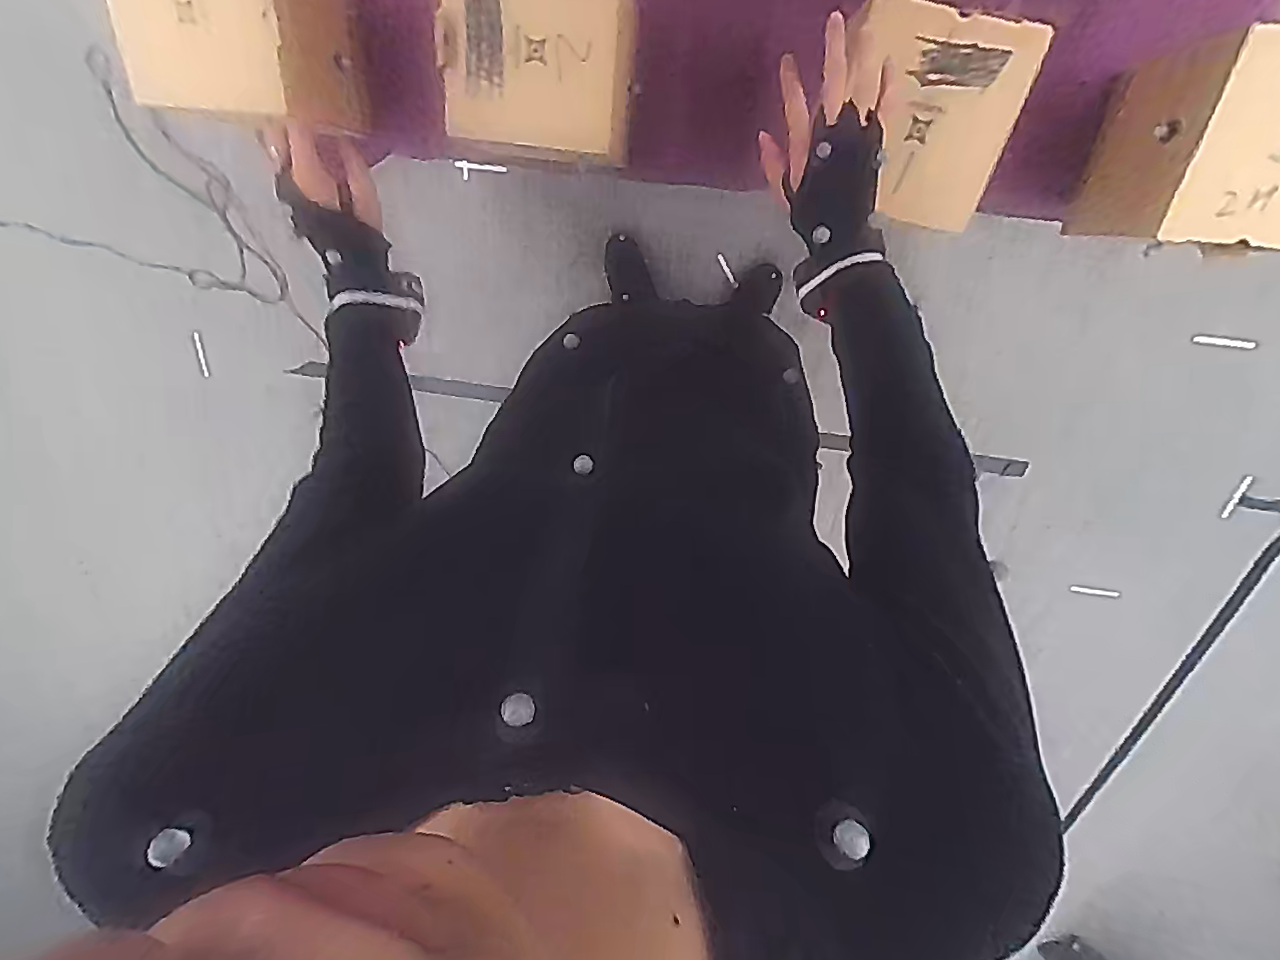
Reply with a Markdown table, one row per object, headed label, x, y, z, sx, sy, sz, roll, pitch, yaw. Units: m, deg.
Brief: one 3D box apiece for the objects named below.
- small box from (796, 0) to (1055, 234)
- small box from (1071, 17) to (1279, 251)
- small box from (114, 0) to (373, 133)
| label | x | y | z | sx | sy | sz | roll | pitch | yaw |
| --- | --- | --- | --- | --- | --- | --- | --- | --- | --- |
| small box | 0.284 | -0.385 | 0.591 | 0.168 | 0.176 | 0.179 | 13 | 118 | 0 |
| small box | 0.613 | -0.346 | 0.571 | 0.168 | 0.176 | 0.179 | 7 | 117 | 4 |
| small box | -0.438 | -0.505 | 0.613 | 0.179 | 0.176 | 0.168 | 5 | 117 | 2 |
